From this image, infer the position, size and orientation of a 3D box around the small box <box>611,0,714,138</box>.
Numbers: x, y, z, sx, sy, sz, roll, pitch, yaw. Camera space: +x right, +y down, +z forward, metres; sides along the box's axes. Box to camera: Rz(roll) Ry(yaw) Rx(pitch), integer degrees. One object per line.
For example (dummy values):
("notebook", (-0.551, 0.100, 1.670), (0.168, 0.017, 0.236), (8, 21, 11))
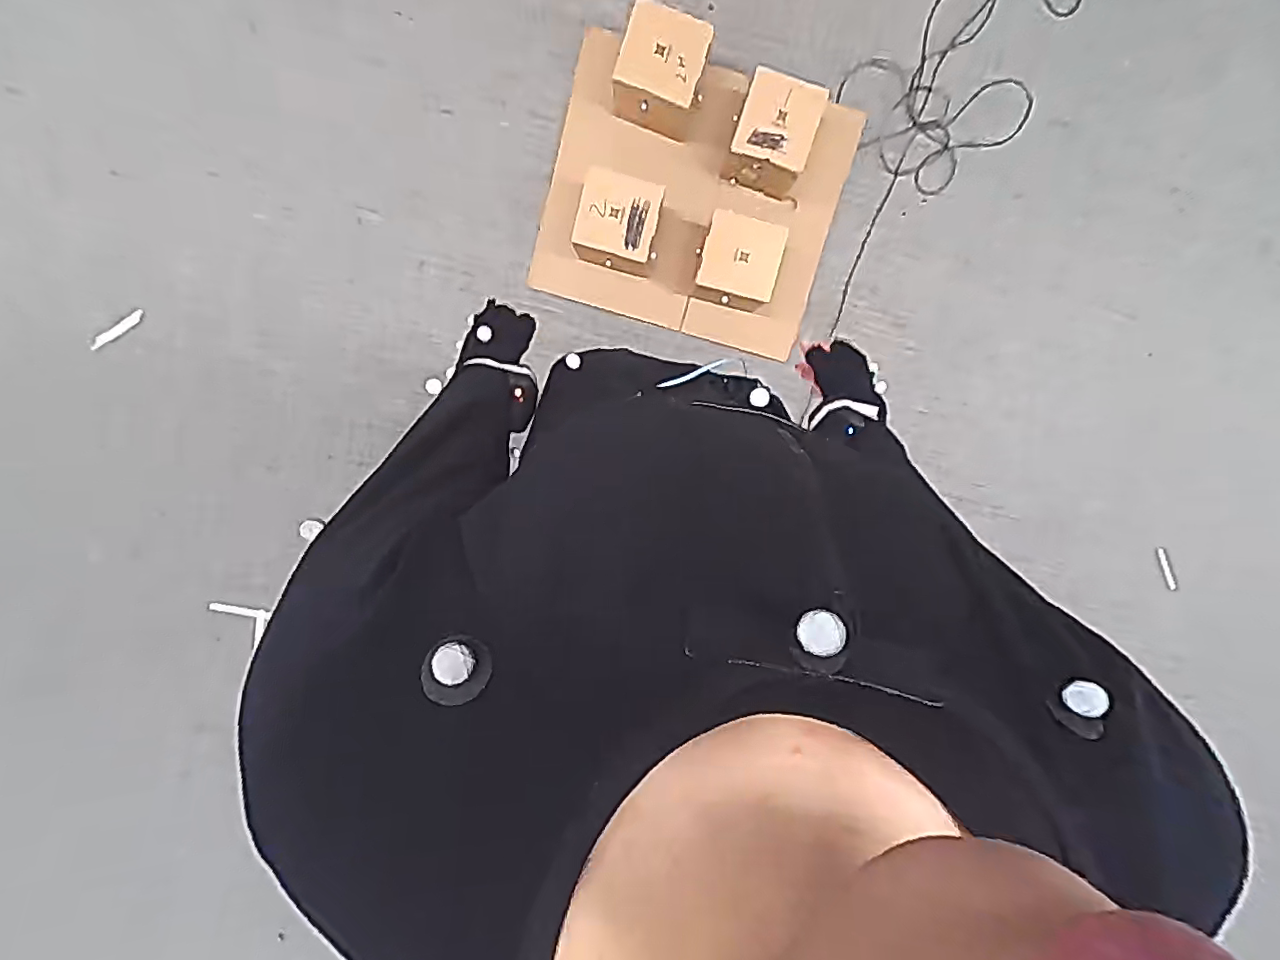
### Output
("small box", (0.045, -0.908, 1.210), (0.179, 0.176, 0.168), (20, 100, -5))

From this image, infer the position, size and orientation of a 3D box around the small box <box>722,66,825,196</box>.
("small box", (0.295, -0.786, 1.241), (0.168, 0.176, 0.179), (18, 99, -3))
